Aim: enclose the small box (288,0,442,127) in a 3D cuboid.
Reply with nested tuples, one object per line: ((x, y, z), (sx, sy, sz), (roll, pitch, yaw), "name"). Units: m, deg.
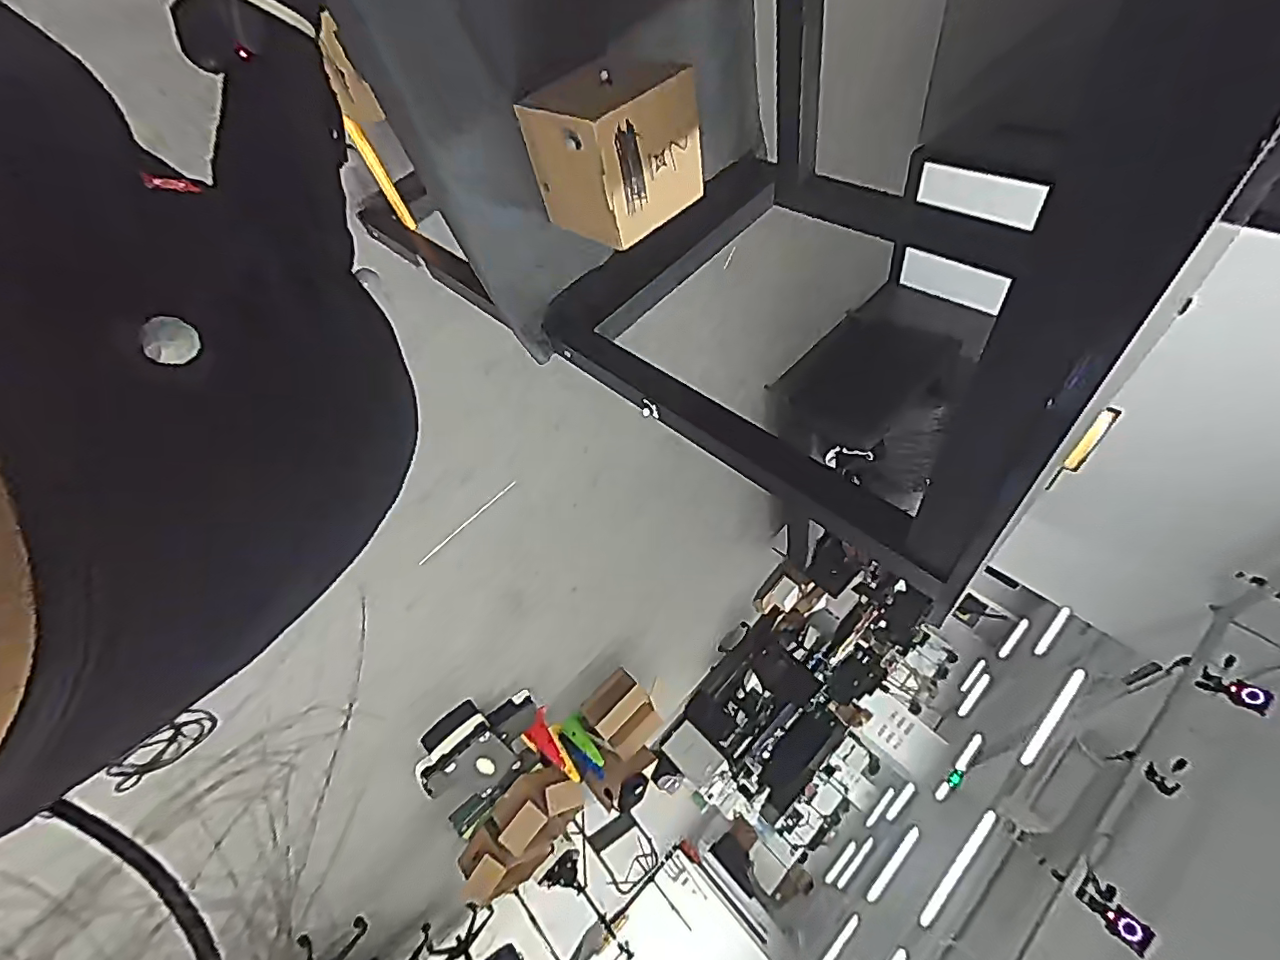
((-0.511, -0.786, 0.998), (0.179, 0.176, 0.168), (-41, 146, -19), "small box")
